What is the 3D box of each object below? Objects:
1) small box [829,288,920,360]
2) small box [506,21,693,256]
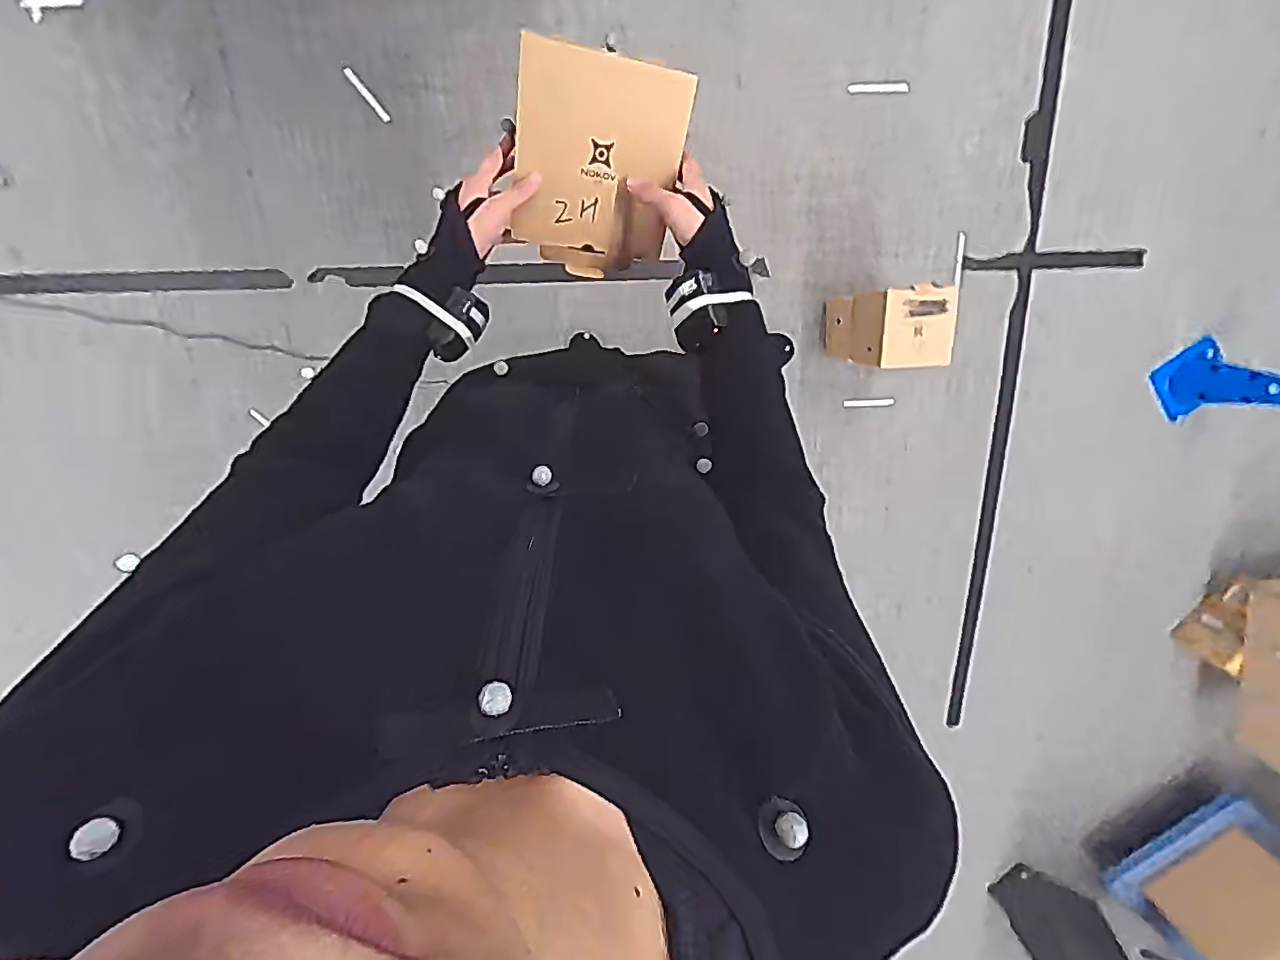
[{"bbox_3d":[0.620,-0.417,1.451,0.179,0.176,0.168,-6,108,-1],"label":"small box"},{"bbox_3d":[-0.057,-0.370,0.589,0.168,0.176,0.179,3,129,-13],"label":"small box"}]
